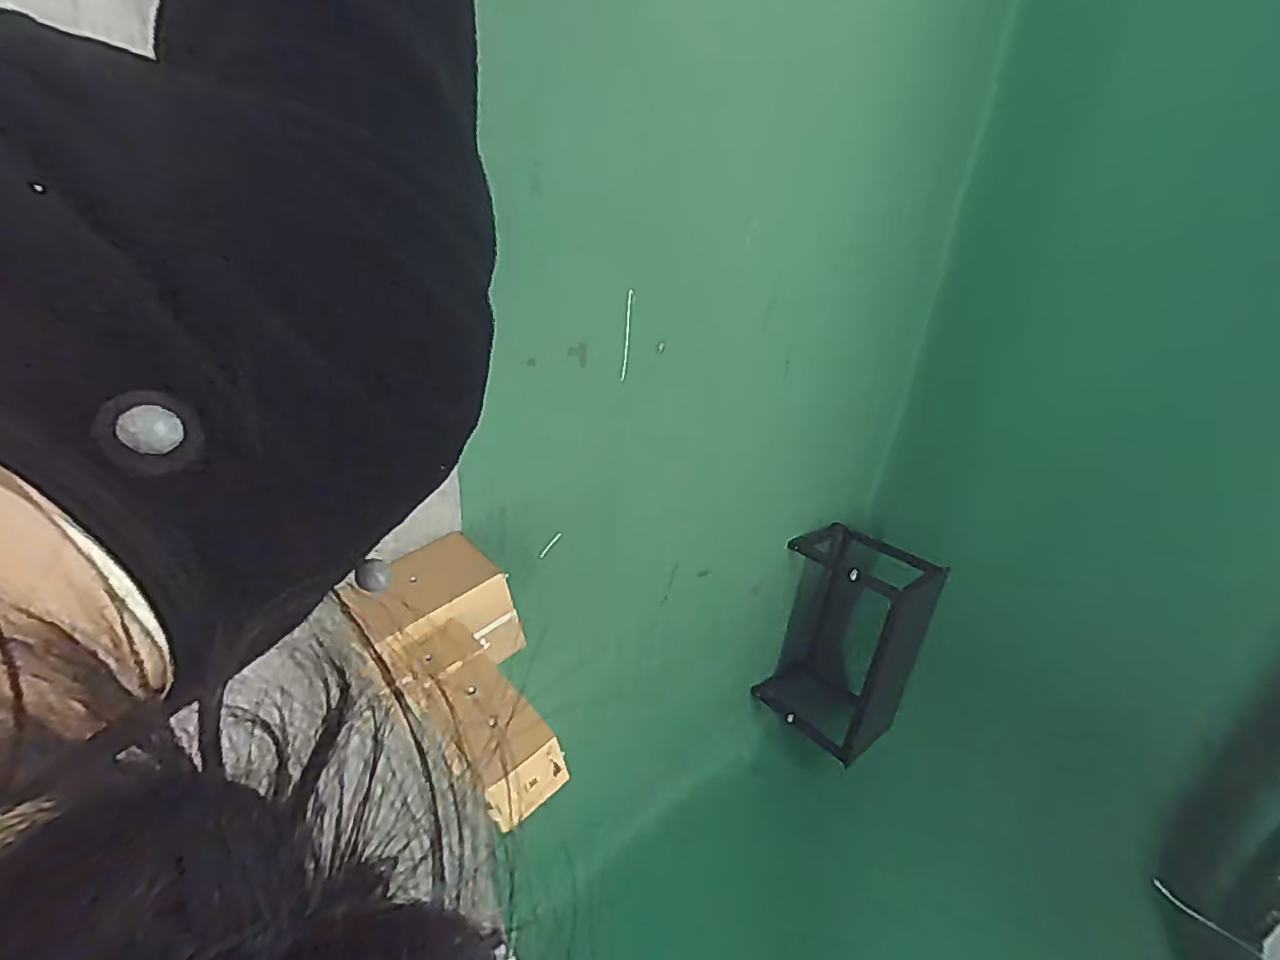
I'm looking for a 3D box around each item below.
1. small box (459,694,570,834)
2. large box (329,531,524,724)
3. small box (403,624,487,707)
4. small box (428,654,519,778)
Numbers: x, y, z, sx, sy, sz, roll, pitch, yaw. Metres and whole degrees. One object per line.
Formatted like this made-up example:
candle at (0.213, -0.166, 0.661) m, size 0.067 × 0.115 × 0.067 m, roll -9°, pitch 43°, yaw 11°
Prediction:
small box at (-0.284, 0.622, 1.204) m, size 0.179 × 0.176 × 0.168 m, roll -28°, pitch 127°, yaw -30°
large box at (-0.626, 0.418, 1.618) m, size 0.408 × 0.320 × 0.320 m, roll -31°, pitch 130°, yaw -32°
small box at (-0.499, 0.507, 1.424) m, size 0.168 × 0.176 × 0.179 m, roll -29°, pitch 128°, yaw -31°
small box at (-0.394, 0.566, 1.313) m, size 0.179 × 0.176 × 0.168 m, roll -30°, pitch 128°, yaw -31°
